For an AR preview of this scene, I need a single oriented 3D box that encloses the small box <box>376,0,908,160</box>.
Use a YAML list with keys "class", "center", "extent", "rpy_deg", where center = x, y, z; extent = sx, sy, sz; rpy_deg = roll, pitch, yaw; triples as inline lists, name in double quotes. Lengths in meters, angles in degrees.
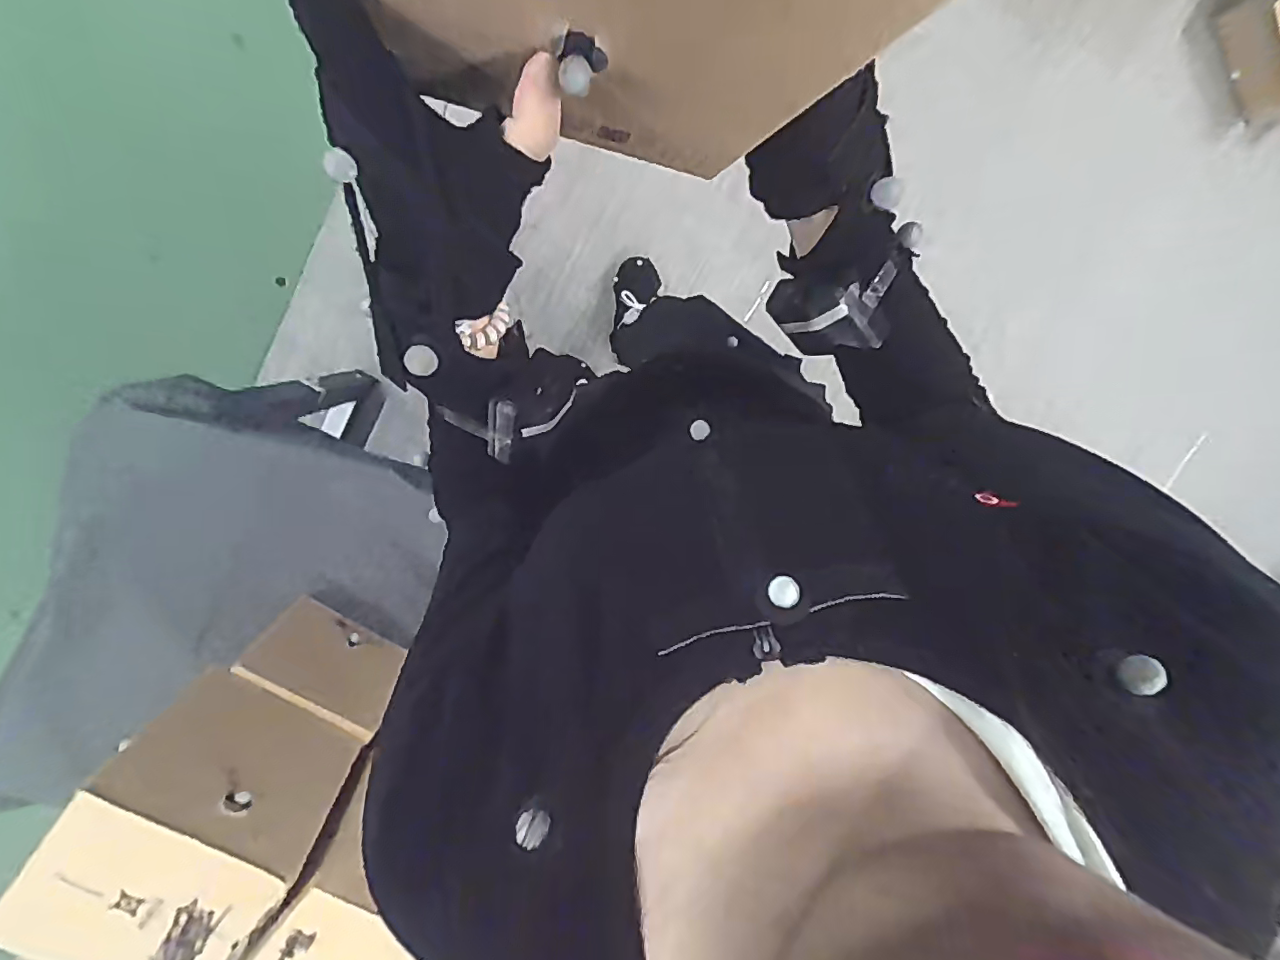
- class: "small box"
  center: [-0.004, -0.241, 0.182]
  extent: [0.168, 0.176, 0.179]
  rpy_deg: [6, 101, -17]
